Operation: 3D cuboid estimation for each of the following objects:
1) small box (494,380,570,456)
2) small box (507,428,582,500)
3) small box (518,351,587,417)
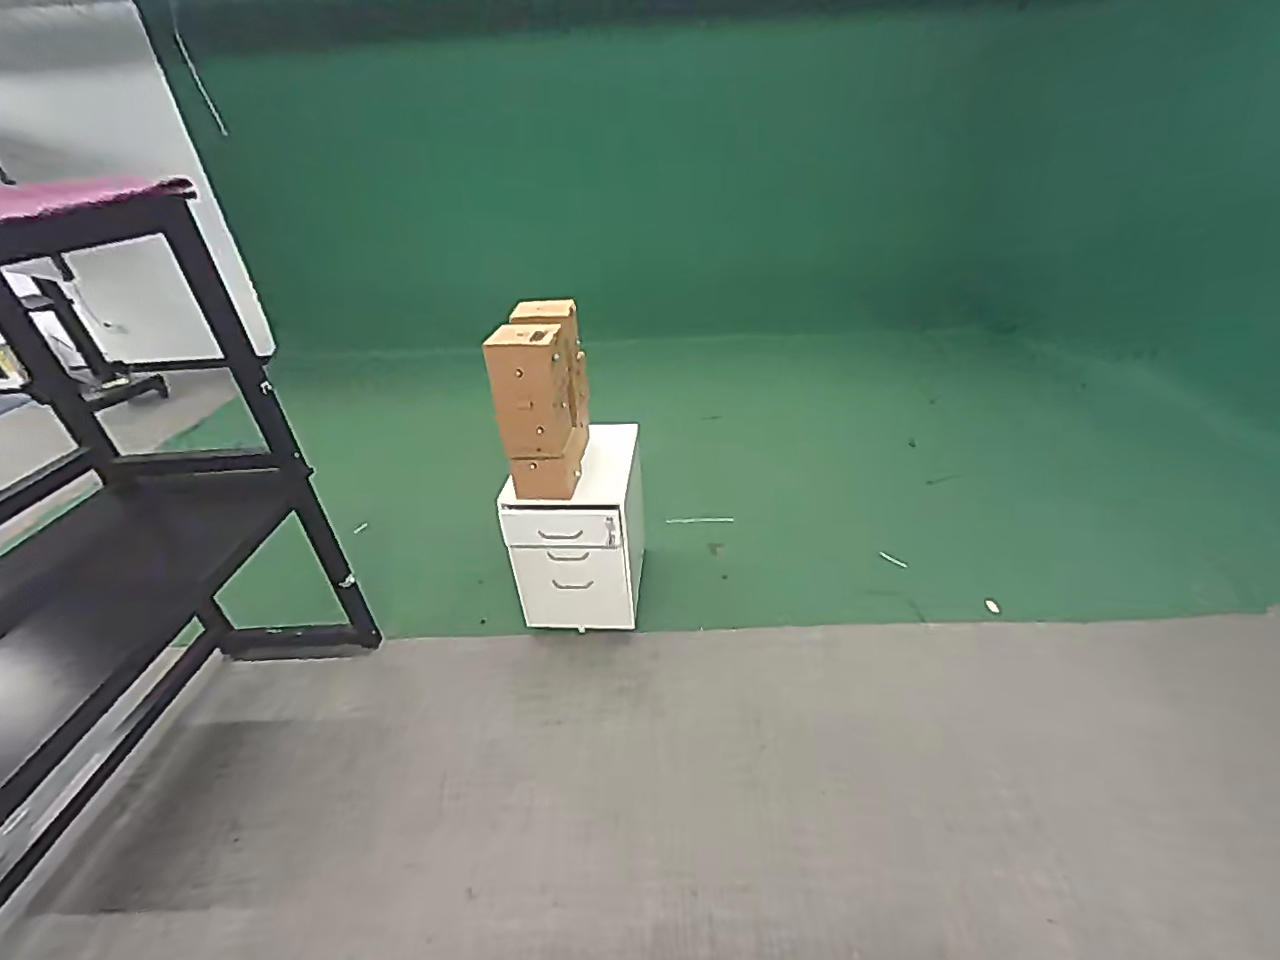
[{"bbox_3d":[-0.303,-0.178,1.561,0.168,0.176,0.179,1,32,5],"label":"small box"},{"bbox_3d":[-0.287,-0.051,1.662,0.179,0.176,0.168,2,33,8],"label":"small box"},{"bbox_3d":[-0.279,-0.313,1.771,0.179,0.176,0.168,3,33,8],"label":"small box"}]
